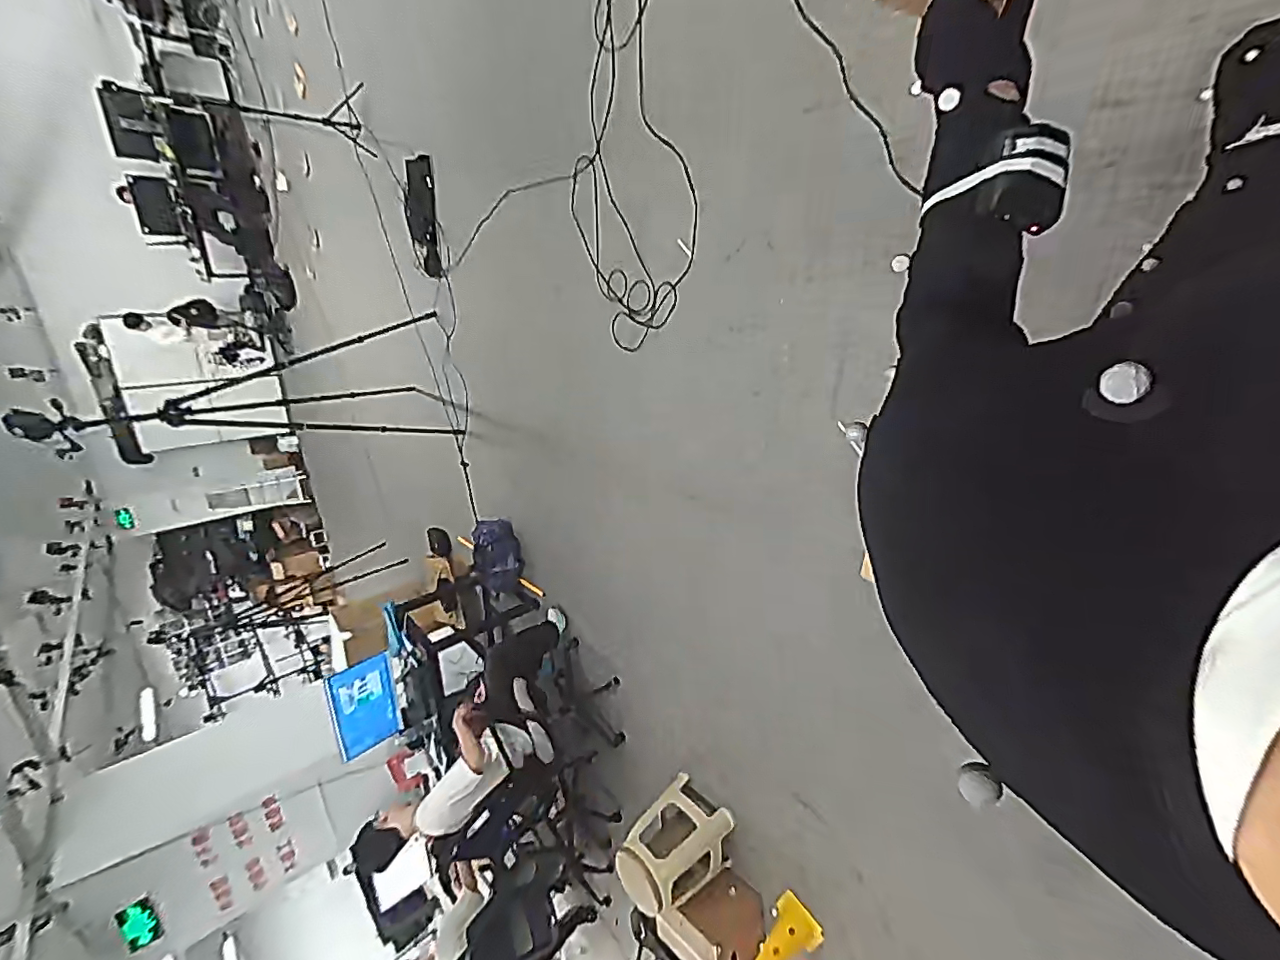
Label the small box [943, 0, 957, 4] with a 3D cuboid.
[{"bbox_3d":[0.296,-0.542,0.442,0.168,0.176,0.179,4,117,46],"label":"small box"}]
